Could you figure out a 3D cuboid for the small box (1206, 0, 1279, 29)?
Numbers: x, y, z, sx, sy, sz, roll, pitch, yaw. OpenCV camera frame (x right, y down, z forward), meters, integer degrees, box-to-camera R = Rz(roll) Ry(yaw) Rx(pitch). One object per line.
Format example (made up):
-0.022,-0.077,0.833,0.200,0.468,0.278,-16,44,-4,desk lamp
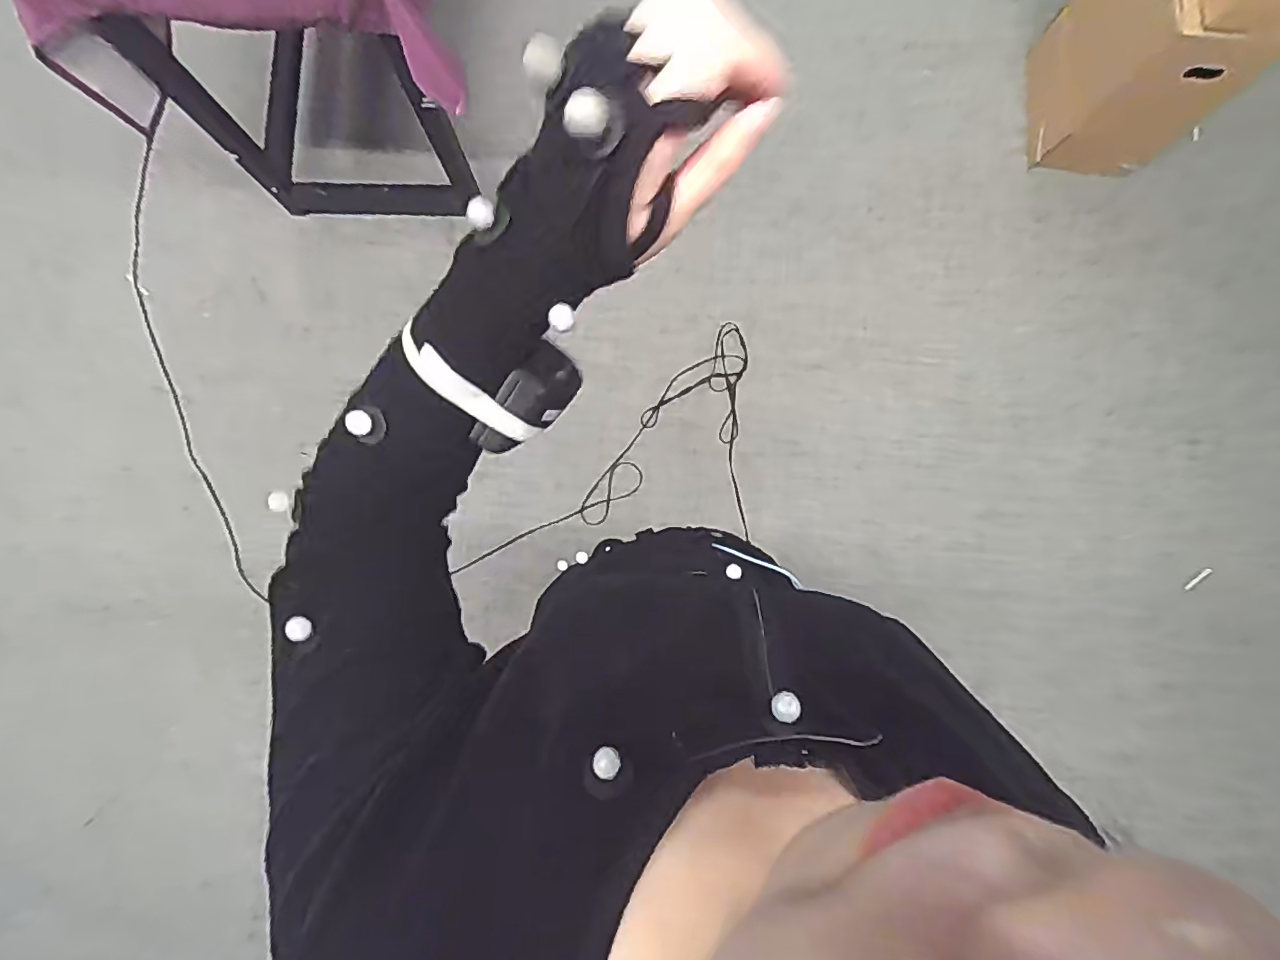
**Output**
1.355,-1.096,1.132,0.179,0.176,0.168,3,83,0,small box
